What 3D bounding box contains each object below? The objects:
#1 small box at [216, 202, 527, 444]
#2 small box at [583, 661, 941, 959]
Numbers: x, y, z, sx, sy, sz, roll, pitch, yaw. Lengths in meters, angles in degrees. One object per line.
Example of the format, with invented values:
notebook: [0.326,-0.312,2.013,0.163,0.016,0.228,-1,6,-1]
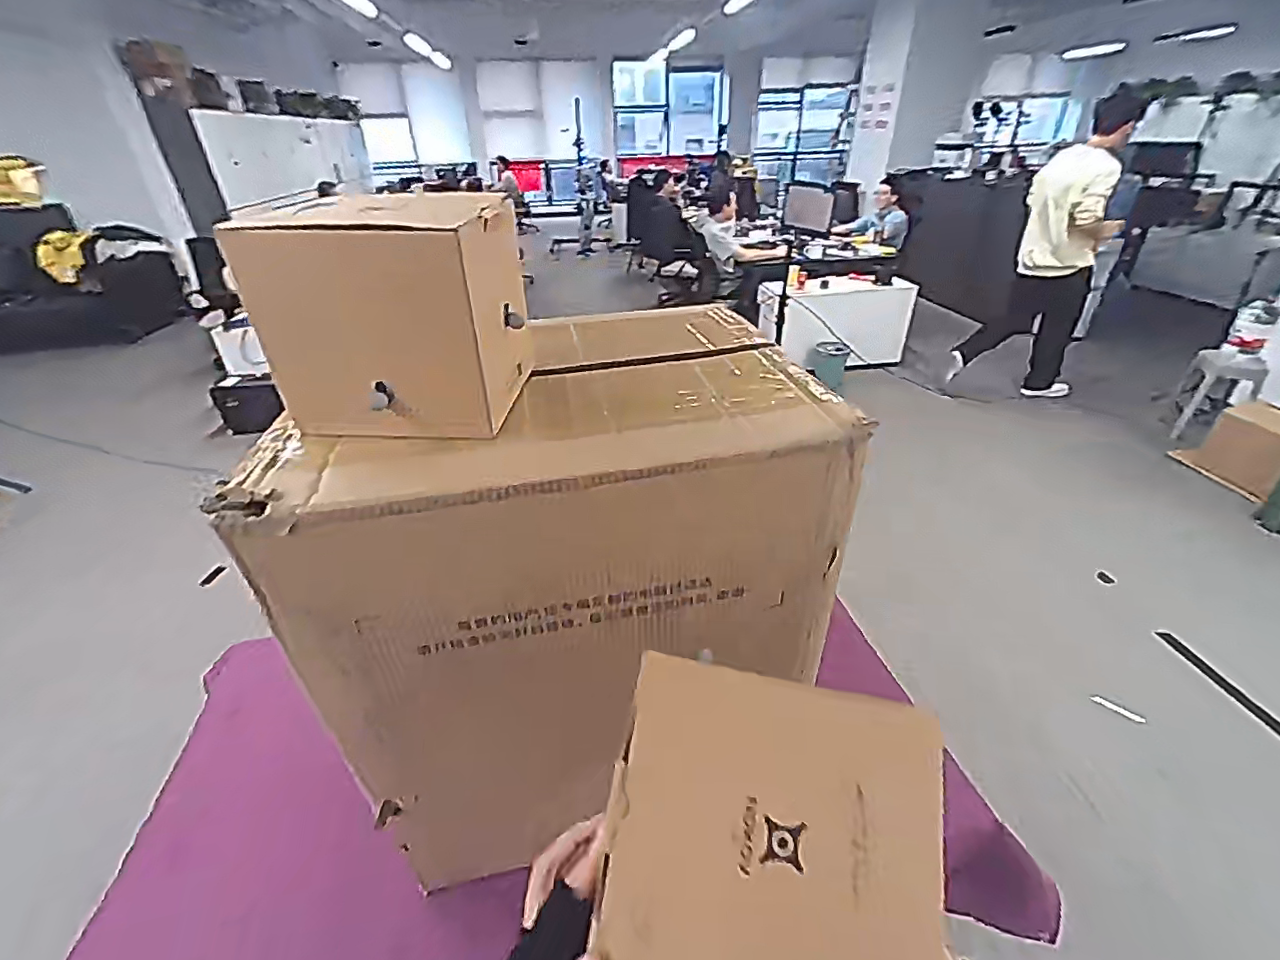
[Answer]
small box: [-0.207,-0.142,0.484,0.179,0.176,0.168,1,34,2]
small box: [0.072,0.228,0.363,0.179,0.176,0.168,11,70,5]
